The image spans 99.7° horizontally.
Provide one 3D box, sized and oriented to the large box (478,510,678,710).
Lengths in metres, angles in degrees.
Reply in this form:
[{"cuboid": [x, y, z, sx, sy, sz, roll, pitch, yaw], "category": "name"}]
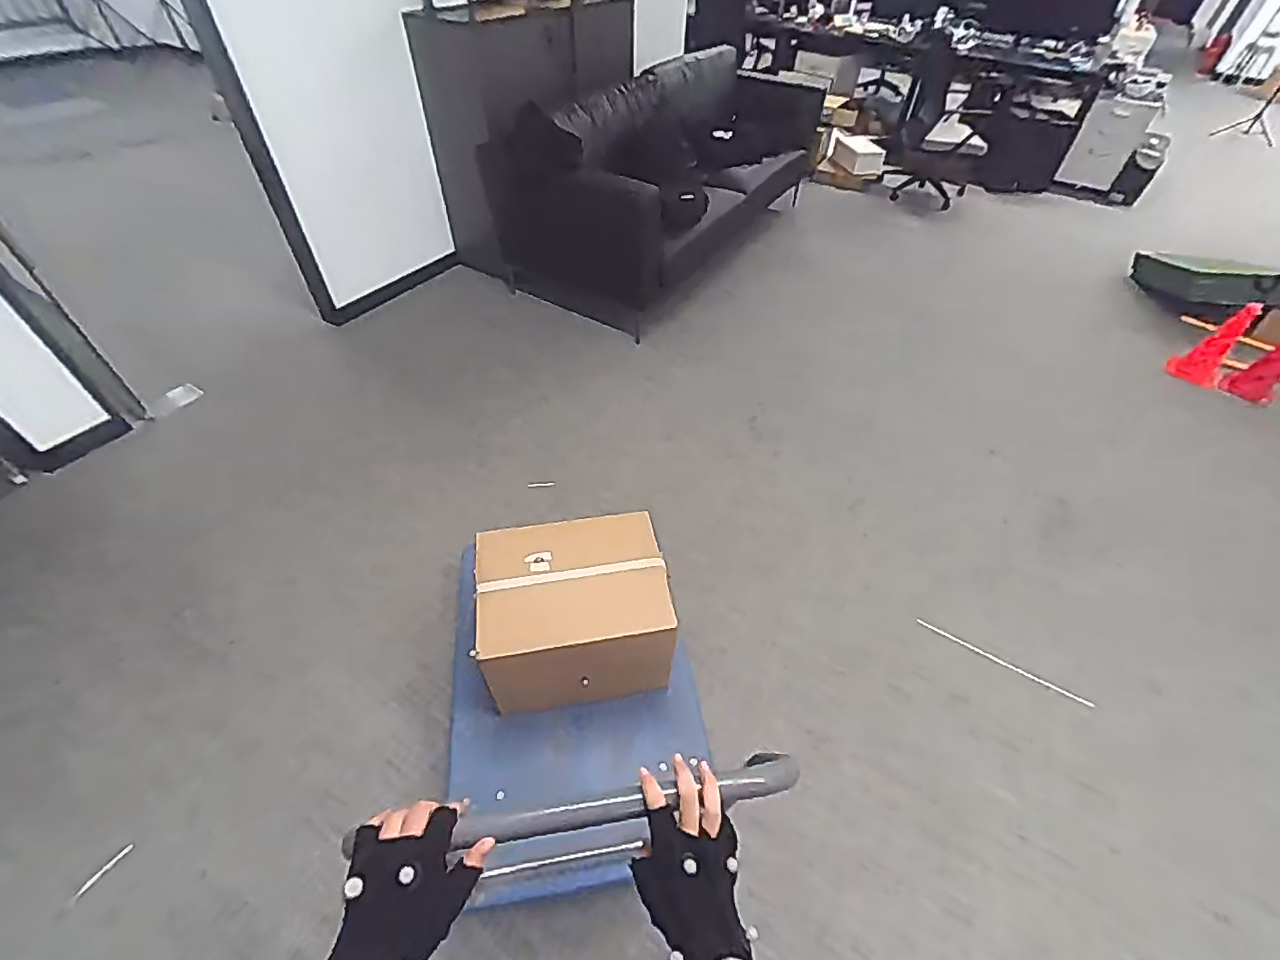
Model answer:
[{"cuboid": [-0.148, 0.309, 1.285, 0.408, 0.320, 0.320, -7, 49, -9], "category": "large box"}]
